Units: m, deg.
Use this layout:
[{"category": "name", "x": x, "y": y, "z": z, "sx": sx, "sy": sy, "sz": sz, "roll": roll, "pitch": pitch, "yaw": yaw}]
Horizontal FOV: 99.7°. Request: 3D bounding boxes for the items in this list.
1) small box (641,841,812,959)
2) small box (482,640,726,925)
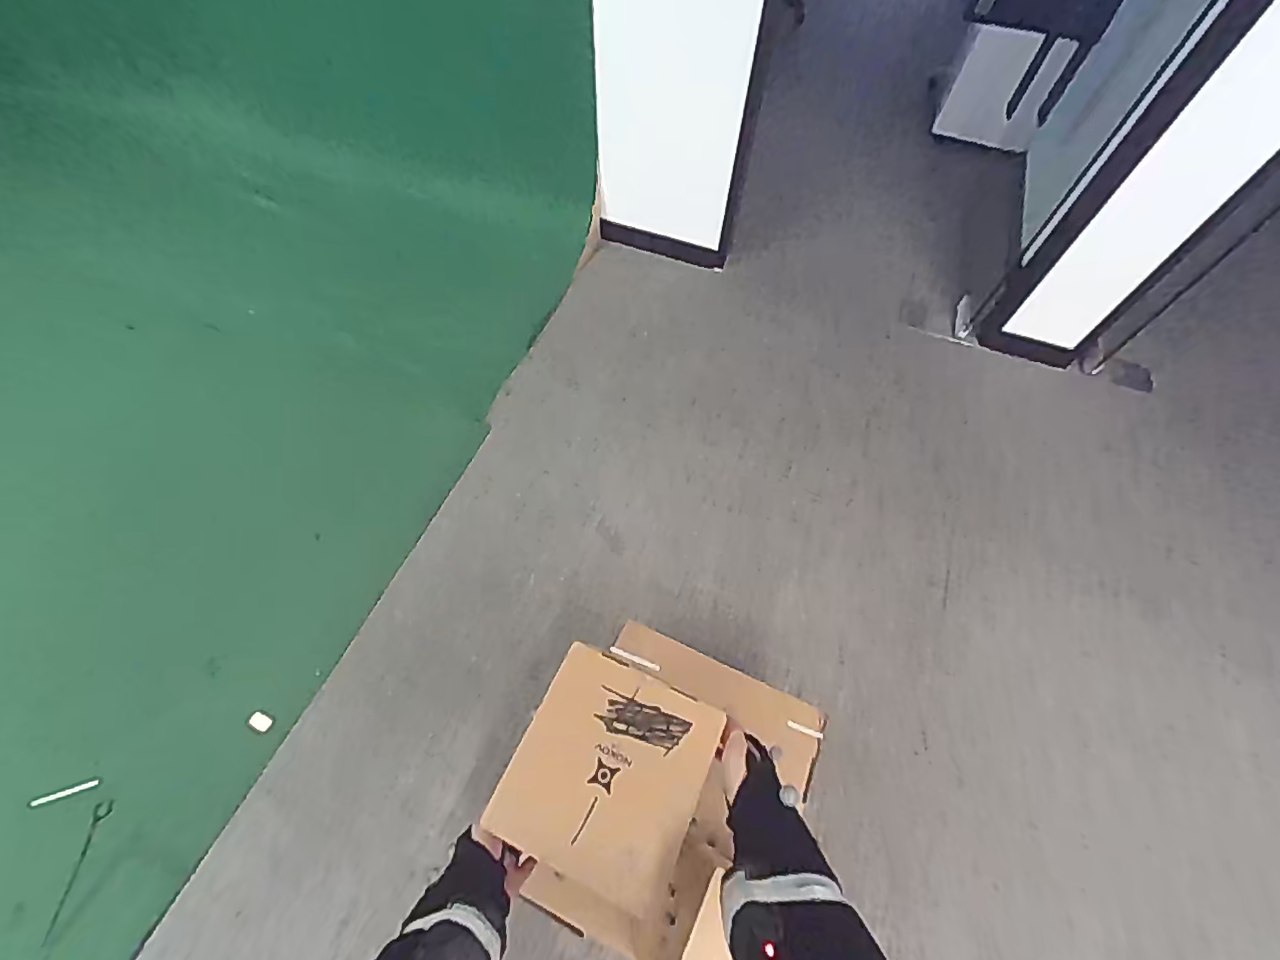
[{"category": "small box", "x": 0.108, "y": 0.626, "z": 0.739, "sx": 0.168, "sy": 0.176, "sz": 0.179, "roll": 25, "pitch": 60, "yaw": 12}, {"category": "small box", "x": -0.030, "y": 0.297, "z": 0.551, "sx": 0.168, "sy": 0.176, "sz": 0.179, "roll": 23, "pitch": 61, "yaw": 12}]
